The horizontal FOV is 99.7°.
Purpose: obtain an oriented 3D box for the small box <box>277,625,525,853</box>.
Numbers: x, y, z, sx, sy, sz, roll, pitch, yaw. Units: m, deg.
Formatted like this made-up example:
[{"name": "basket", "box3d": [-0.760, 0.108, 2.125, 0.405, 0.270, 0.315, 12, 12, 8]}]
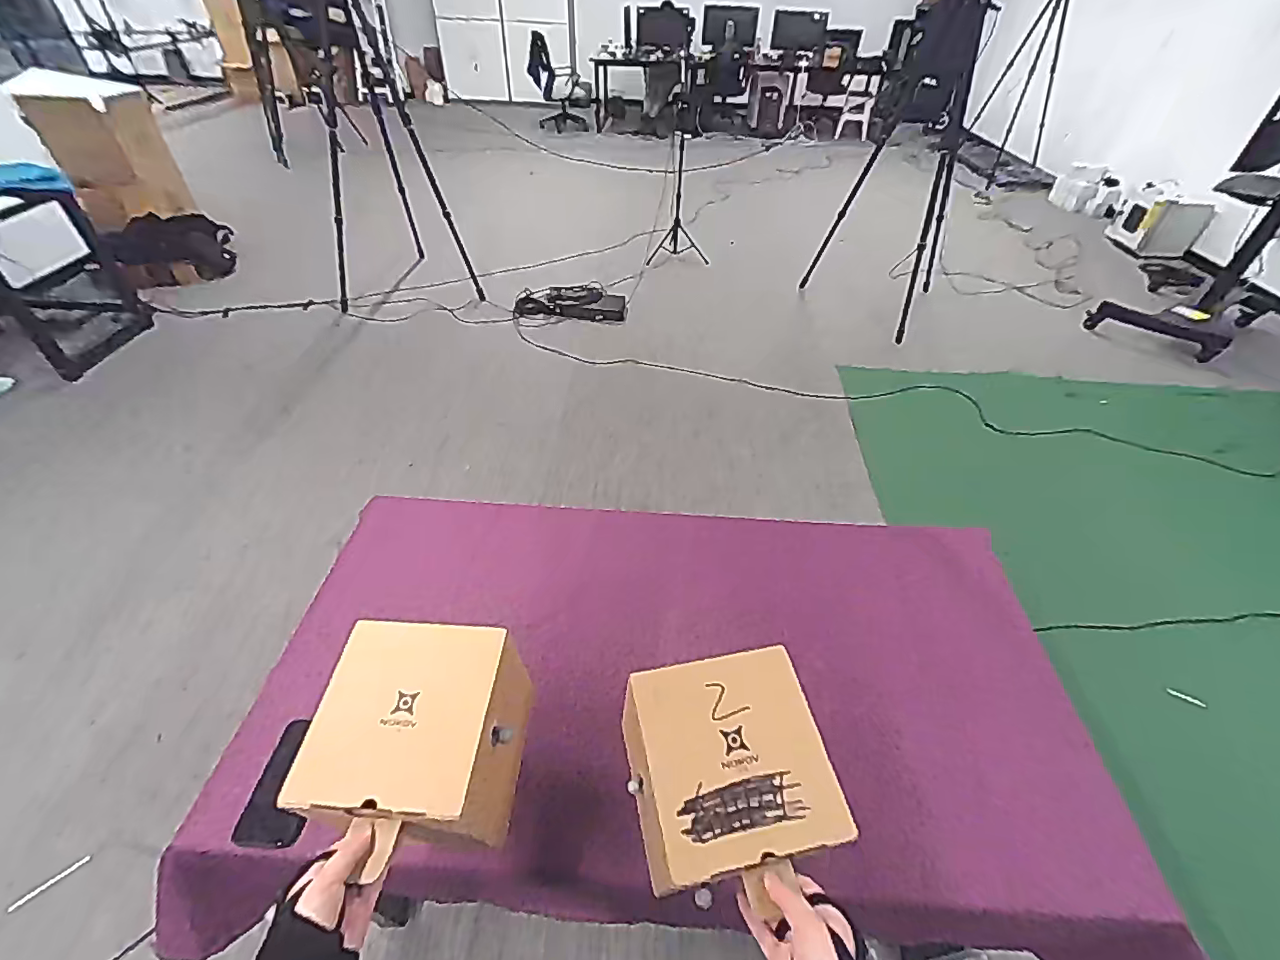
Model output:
[{"name": "small box", "box3d": [-0.229, 0.277, 0.579, 0.168, 0.176, 0.179, 3, 50, 3]}]
